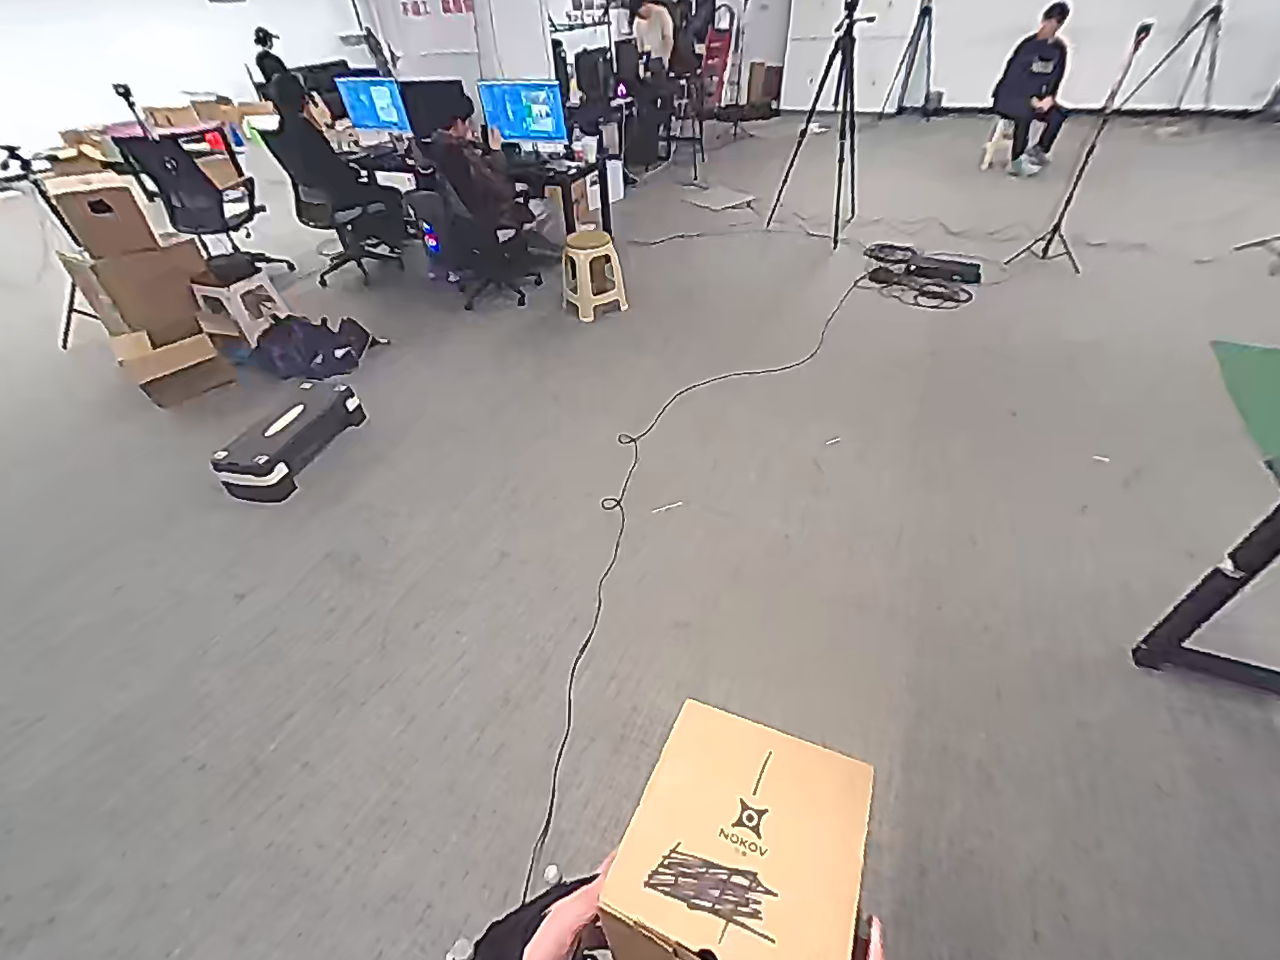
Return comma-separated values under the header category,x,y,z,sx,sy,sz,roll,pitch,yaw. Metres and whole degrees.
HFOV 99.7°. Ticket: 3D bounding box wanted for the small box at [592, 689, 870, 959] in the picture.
category,x,y,z,sx,sy,sz,roll,pitch,yaw
small box,0.082,0.319,0.451,0.168,0.176,0.179,12,37,24
